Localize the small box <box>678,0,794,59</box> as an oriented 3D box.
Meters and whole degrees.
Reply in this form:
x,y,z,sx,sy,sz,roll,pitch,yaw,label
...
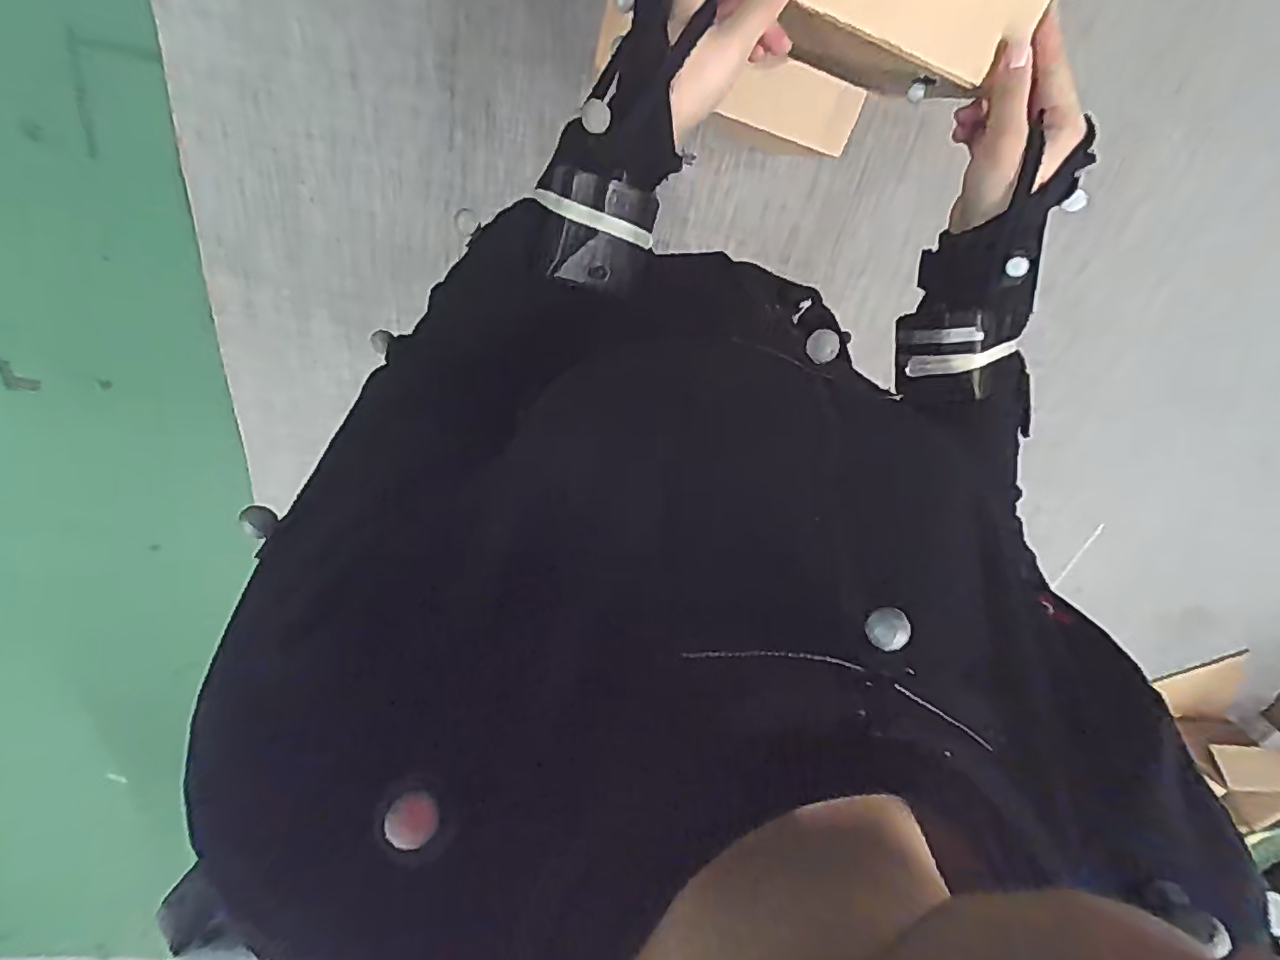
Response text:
x,y,z,sx,sy,sz,roll,pitch,yaw,label
0.141,-0.539,0.519,0.168,0.176,0.179,10,119,-14,small box

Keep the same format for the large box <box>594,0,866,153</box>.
x,y,z,sx,sy,sz,roll,pitch,yaw,label
0.154,-0.756,0.867,0.408,0.320,0.320,11,121,-13,large box

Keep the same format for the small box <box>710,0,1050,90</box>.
x,y,z,sx,sy,sz,roll,pitch,yaw,label
0.159,-0.369,0.342,0.179,0.176,0.168,12,123,-14,small box
